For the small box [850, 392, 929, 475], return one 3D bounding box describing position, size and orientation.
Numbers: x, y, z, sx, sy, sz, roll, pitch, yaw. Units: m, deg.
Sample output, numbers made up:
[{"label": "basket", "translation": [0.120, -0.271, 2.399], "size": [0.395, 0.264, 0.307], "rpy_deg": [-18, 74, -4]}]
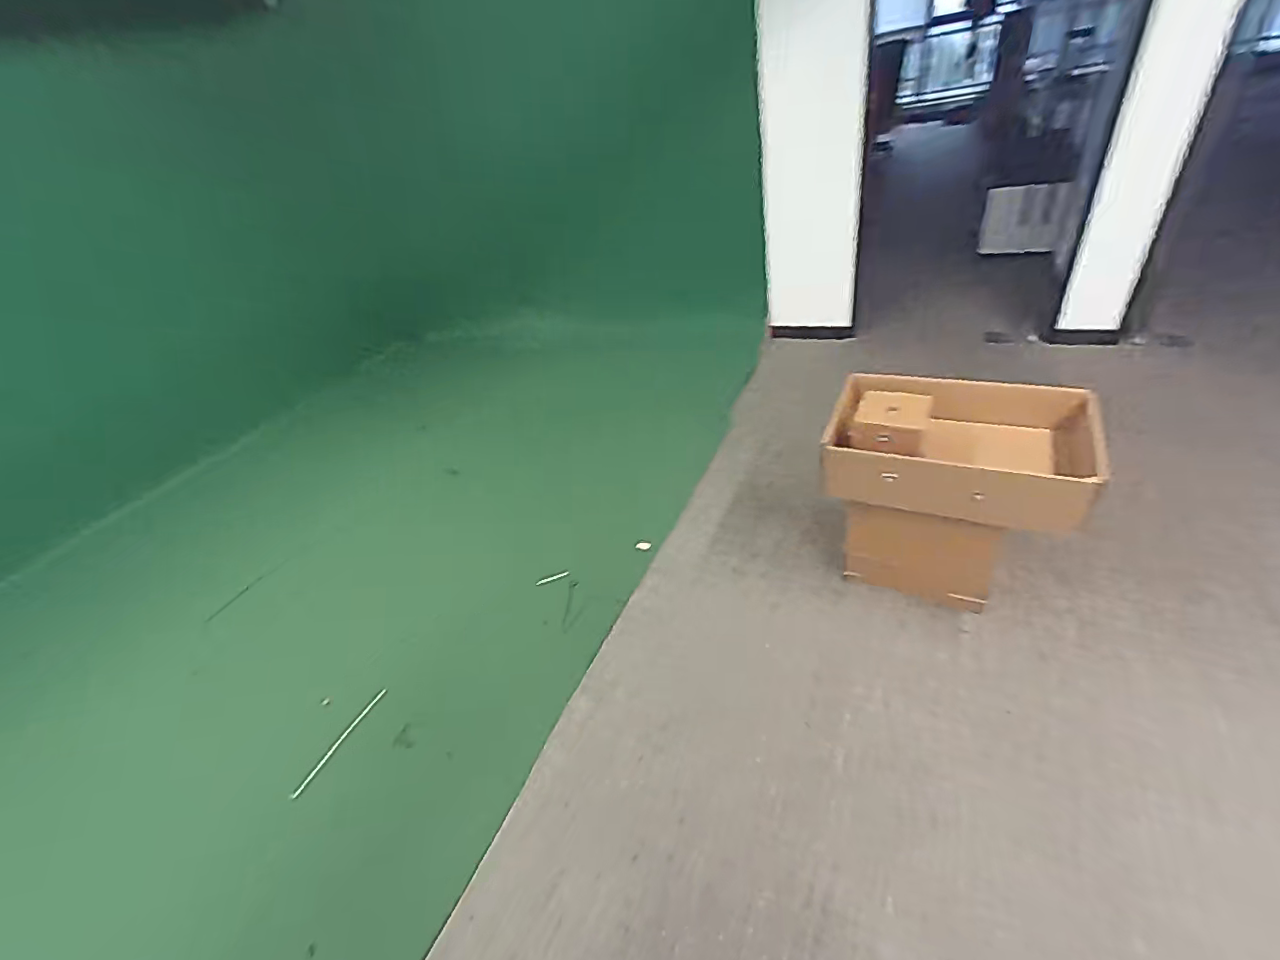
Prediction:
[{"label": "small box", "translation": [0.703, -0.131, 1.531], "size": [0.179, 0.176, 0.168], "rpy_deg": [10, 44, 29]}]
